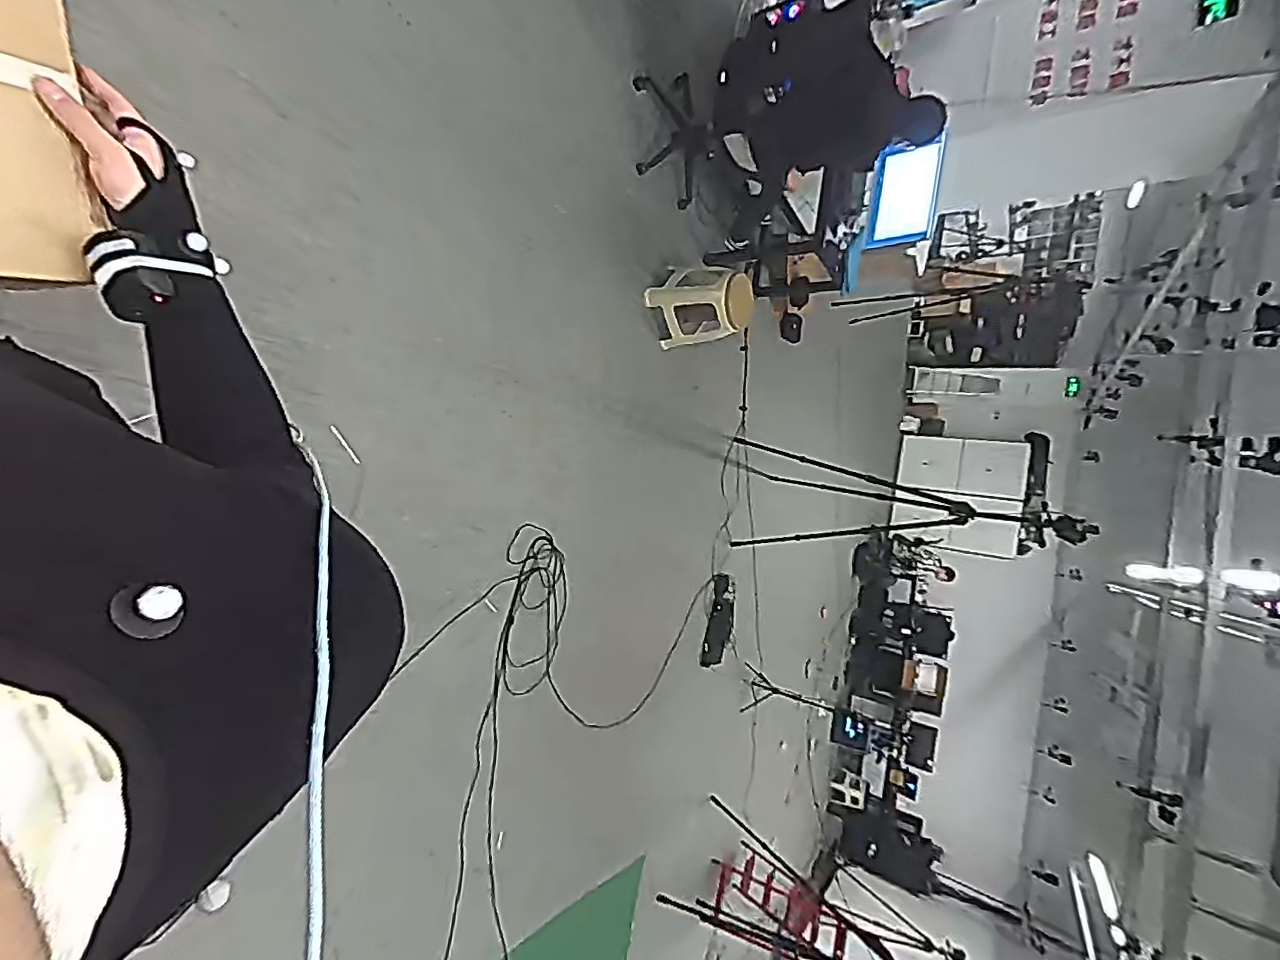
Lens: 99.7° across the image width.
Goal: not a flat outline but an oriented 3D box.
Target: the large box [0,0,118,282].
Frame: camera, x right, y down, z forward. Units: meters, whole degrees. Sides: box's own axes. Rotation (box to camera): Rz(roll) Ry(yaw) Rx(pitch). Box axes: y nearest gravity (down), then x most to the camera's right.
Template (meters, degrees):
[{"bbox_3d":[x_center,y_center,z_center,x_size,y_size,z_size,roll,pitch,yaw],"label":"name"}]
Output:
[{"bbox_3d":[-0.723,-0.328,0.391,0.408,0.320,0.320,-19,116,-54],"label":"large box"}]
